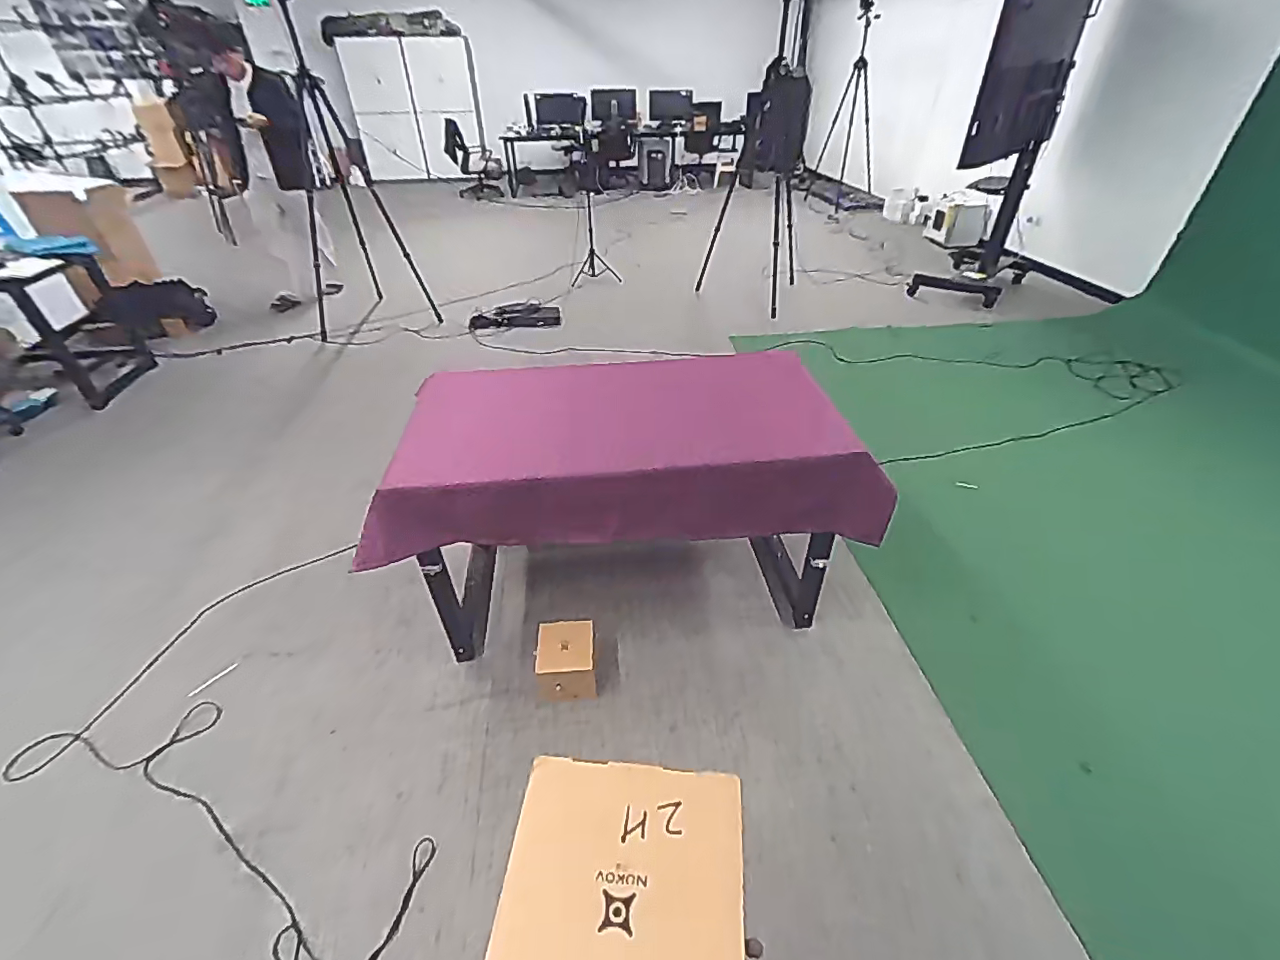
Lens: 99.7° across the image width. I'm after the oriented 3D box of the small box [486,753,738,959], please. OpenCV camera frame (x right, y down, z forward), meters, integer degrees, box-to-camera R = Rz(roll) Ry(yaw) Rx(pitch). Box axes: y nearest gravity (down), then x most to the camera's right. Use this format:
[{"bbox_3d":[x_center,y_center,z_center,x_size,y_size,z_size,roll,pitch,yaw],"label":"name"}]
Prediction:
[{"bbox_3d":[-0.010,0.350,0.430,0.168,0.176,0.179,3,41,7],"label":"small box"}]
